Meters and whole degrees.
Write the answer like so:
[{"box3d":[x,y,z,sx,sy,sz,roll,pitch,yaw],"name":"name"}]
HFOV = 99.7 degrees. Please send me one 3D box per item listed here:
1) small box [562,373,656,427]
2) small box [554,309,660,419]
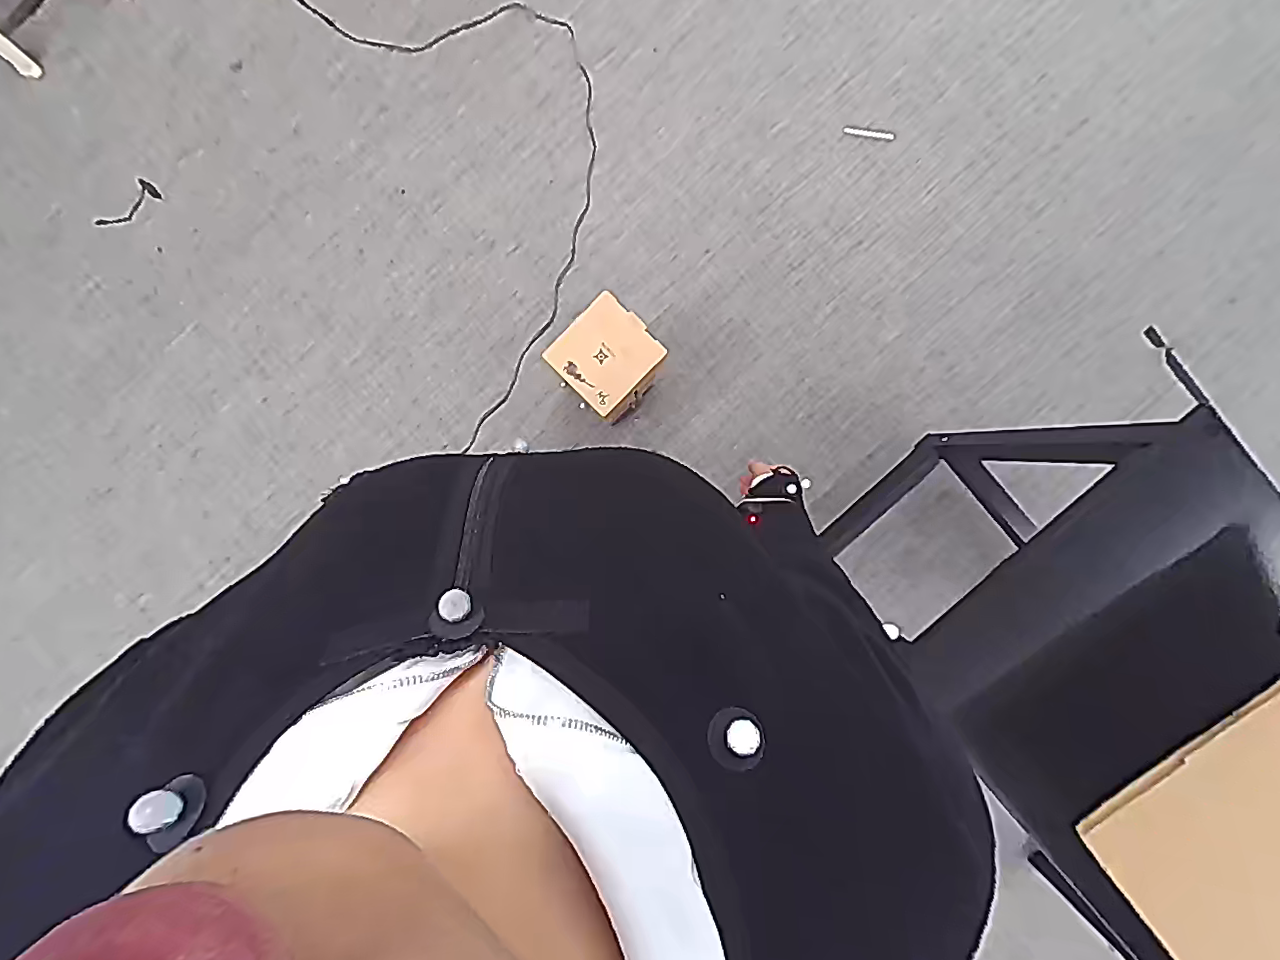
[{"box3d":[-0.080,-0.257,1.410,0.168,0.176,0.179,45,92,-2],"name":"small box"},{"box3d":[-0.073,-0.256,1.248,0.168,0.176,0.179,41,89,-4],"name":"small box"}]
